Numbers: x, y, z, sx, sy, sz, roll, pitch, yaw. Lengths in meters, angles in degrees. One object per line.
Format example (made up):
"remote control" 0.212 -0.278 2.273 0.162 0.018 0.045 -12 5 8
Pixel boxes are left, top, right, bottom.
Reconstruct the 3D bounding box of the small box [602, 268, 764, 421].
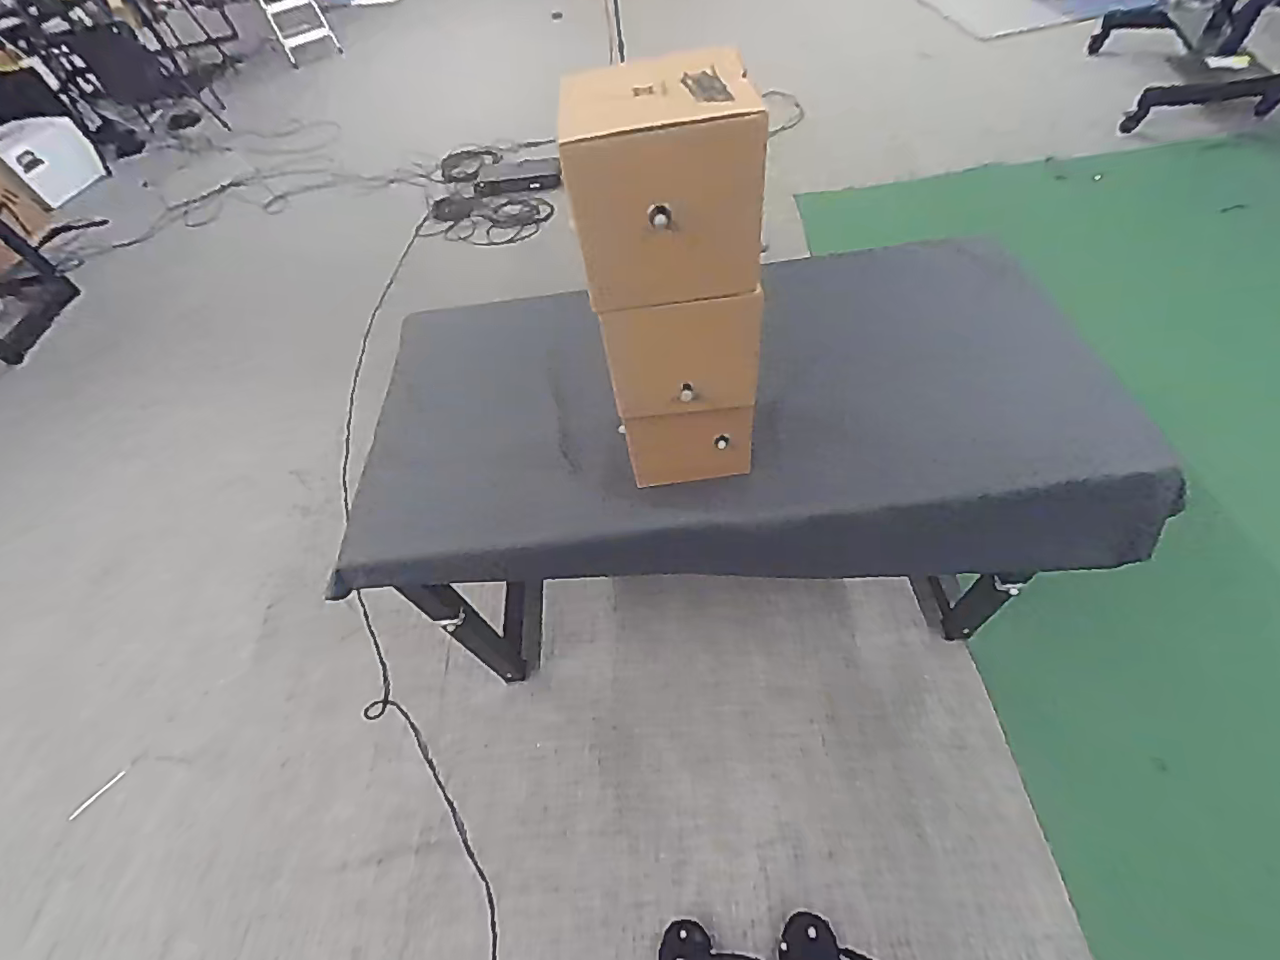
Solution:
"small box" 0.050 -0.194 0.685 0.179 0.176 0.168 -6 52 3

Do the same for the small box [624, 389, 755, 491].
"small box" 0.068 -0.103 0.820 0.179 0.176 0.168 -9 52 3

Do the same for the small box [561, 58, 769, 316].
"small box" 0.024 -0.293 0.556 0.179 0.176 0.168 -7 52 4
